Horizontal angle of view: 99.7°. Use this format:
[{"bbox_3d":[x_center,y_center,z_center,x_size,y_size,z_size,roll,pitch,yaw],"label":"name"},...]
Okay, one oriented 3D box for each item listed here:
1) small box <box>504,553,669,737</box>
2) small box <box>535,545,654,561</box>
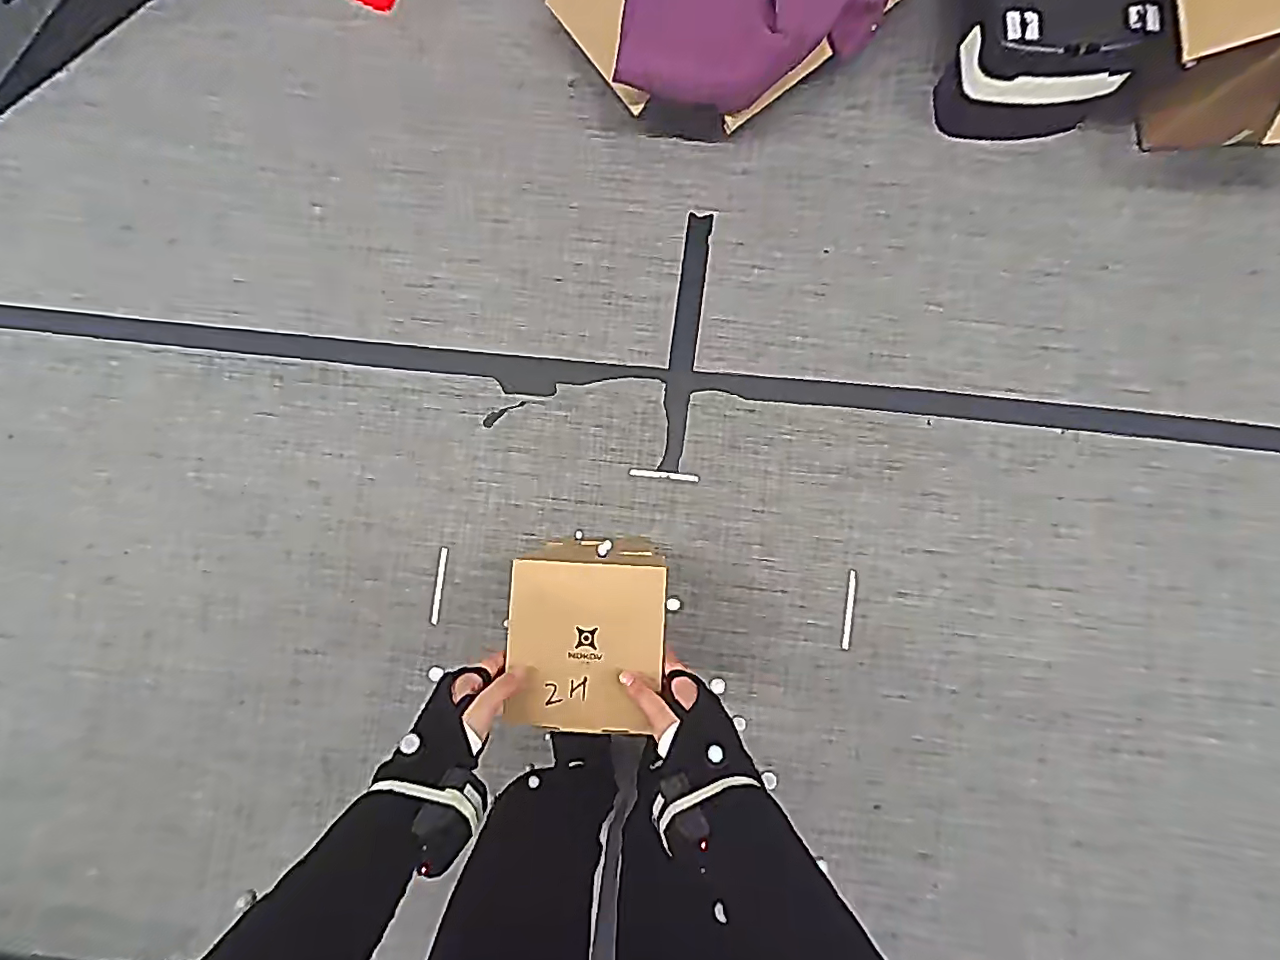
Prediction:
[{"bbox_3d":[-0.055,0.180,0.642,0.168,0.176,0.179,2,86,1],"label":"small box"},{"bbox_3d":[-0.060,0.194,0.813,0.168,0.176,0.179,-1,87,2],"label":"small box"}]
